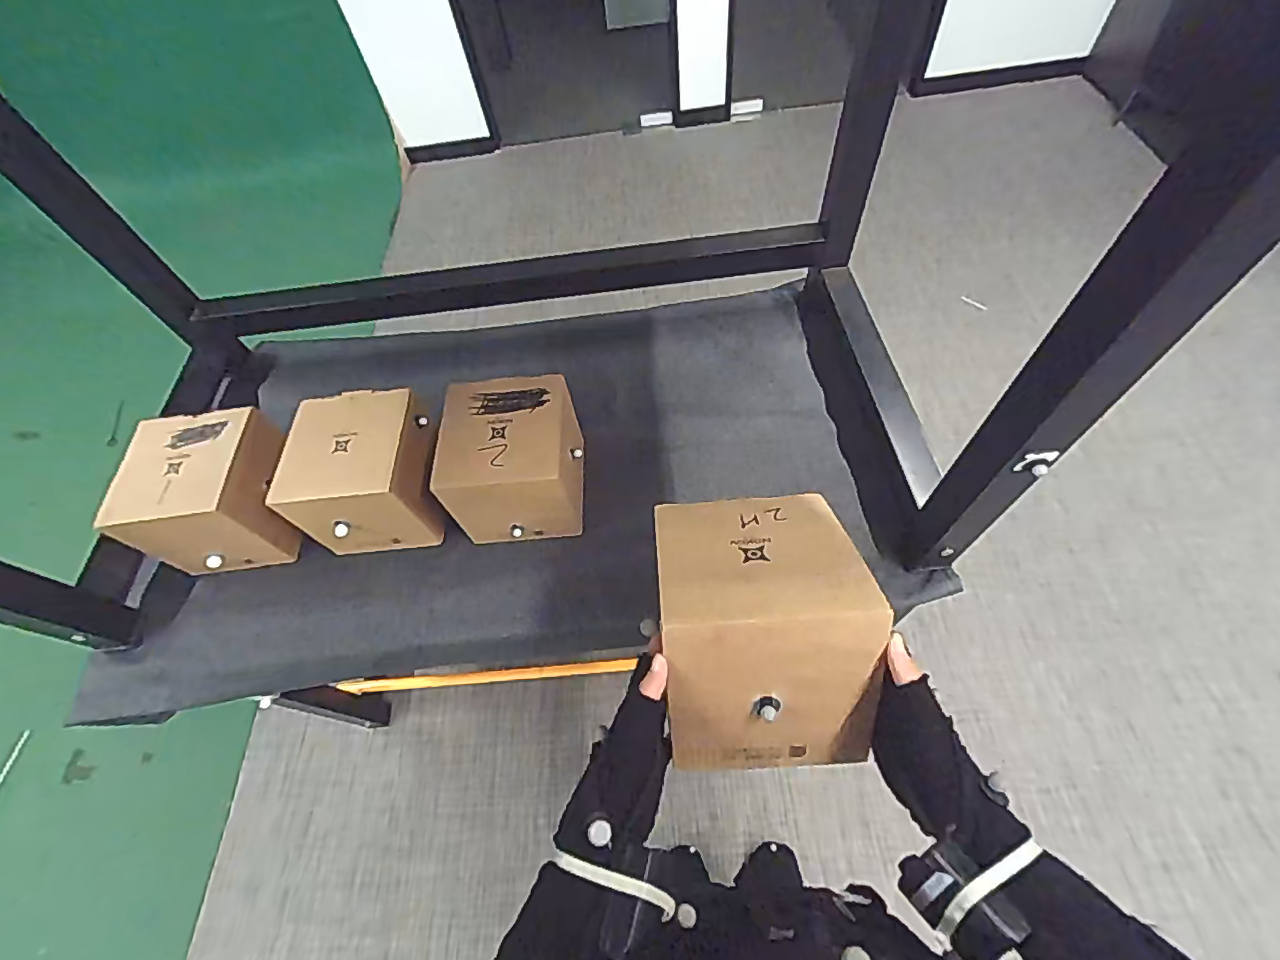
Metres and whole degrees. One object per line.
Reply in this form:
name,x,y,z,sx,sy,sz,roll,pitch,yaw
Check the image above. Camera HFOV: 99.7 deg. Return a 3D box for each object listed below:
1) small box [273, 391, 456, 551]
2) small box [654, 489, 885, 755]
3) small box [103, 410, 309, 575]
small box,-0.388,-0.005,0.800,0.168,0.176,0.179,-6,57,3
small box,0.102,0.127,0.494,0.168,0.176,0.179,-4,27,2
small box,-0.613,0.023,0.806,0.168,0.176,0.179,-8,58,2
